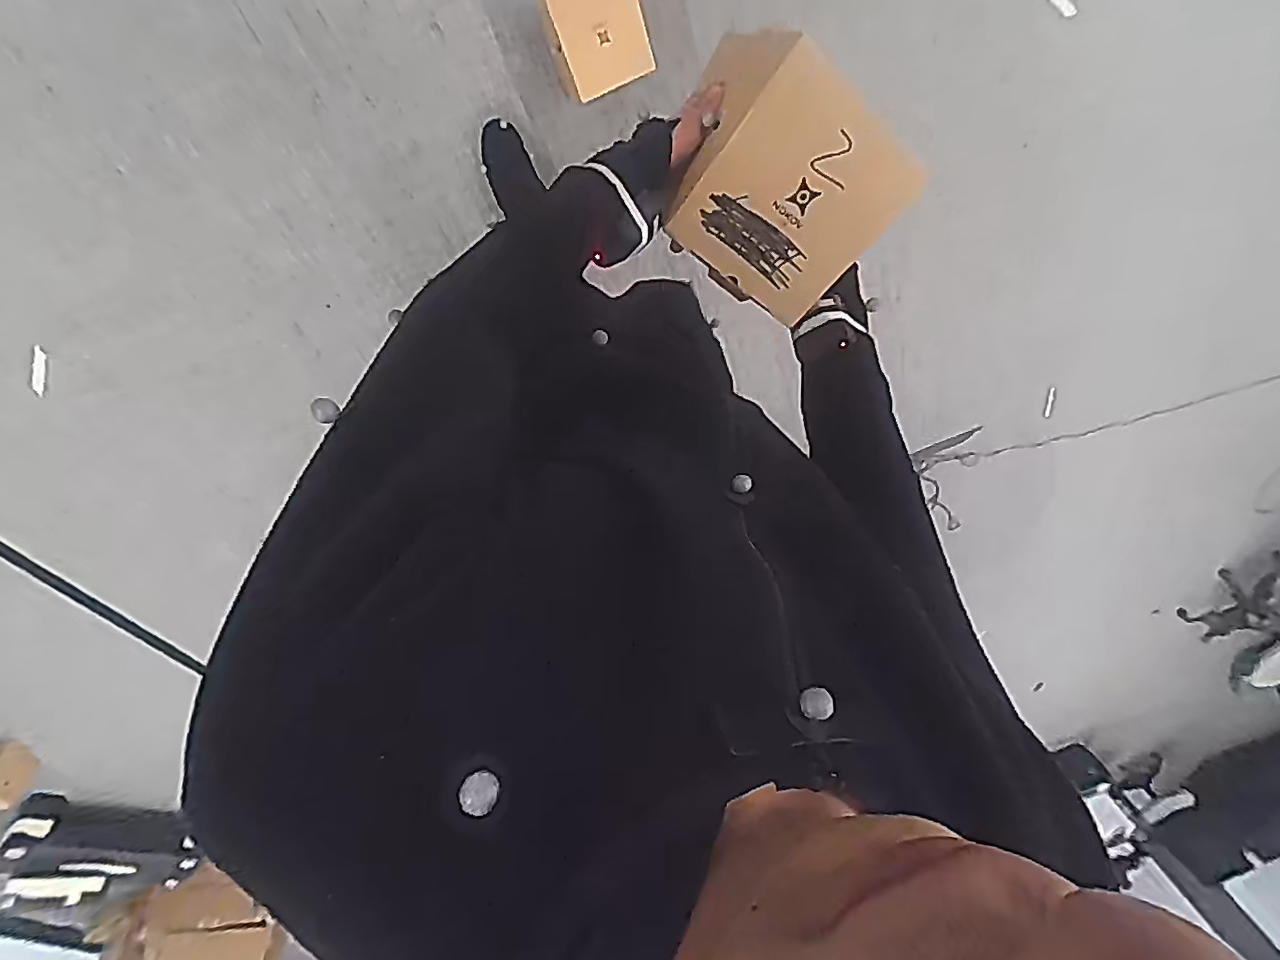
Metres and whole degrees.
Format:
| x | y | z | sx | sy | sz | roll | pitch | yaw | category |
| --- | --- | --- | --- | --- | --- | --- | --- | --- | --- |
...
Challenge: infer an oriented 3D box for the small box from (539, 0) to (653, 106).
| x | y | z | sx | sy | sz | roll | pitch | yaw | category |
| --- | --- | --- | --- | --- | --- | --- | --- | --- | --- |
| -0.091 | -0.892 | 1.094 | 0.168 | 0.176 | 0.179 | -24 | 128 | 3 | small box |

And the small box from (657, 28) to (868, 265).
| x | y | z | sx | sy | sz | roll | pitch | yaw | category |
| --- | --- | --- | --- | --- | --- | --- | --- | --- | --- |
| 0.131 | -0.406 | 0.658 | 0.168 | 0.176 | 0.179 | 23 | 126 | -21 | small box |
